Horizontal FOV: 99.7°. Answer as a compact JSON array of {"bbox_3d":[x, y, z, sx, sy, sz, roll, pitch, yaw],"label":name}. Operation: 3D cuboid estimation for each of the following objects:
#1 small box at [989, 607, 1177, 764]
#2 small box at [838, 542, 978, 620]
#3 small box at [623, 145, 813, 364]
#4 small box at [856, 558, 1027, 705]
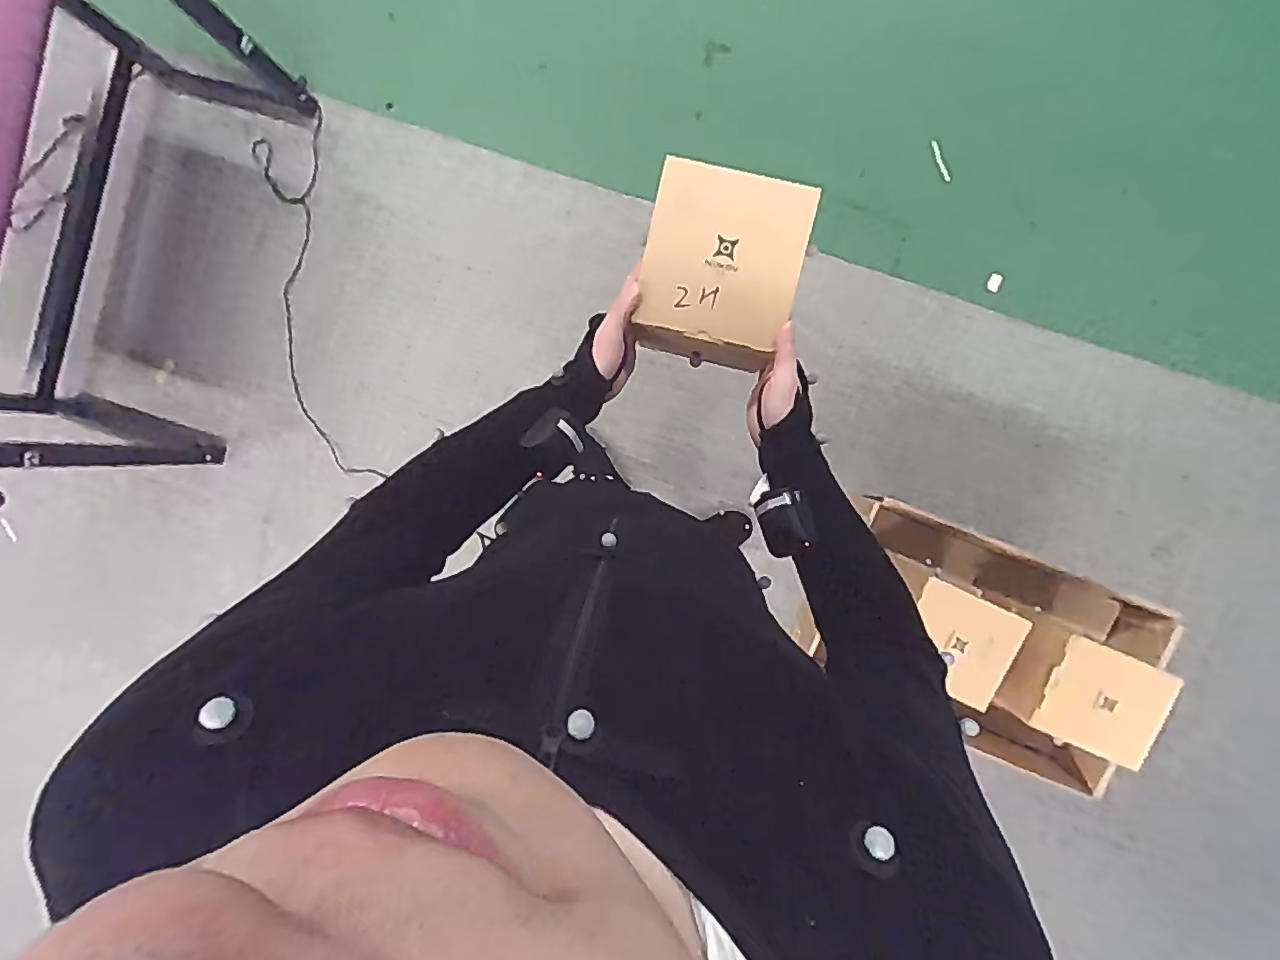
[{"bbox_3d":[0.737,0.341,0.935,0.179,0.176,0.168,23,95,5],"label":"small box"},{"bbox_3d":[0.534,0.237,1.107,0.179,0.176,0.168,23,95,2],"label":"small box"},{"bbox_3d":[0.084,-0.249,0.641,0.168,0.176,0.179,14,96,3],"label":"small box"},{"bbox_3d":[0.509,0.251,0.946,0.179,0.176,0.168,26,96,2],"label":"small box"}]
